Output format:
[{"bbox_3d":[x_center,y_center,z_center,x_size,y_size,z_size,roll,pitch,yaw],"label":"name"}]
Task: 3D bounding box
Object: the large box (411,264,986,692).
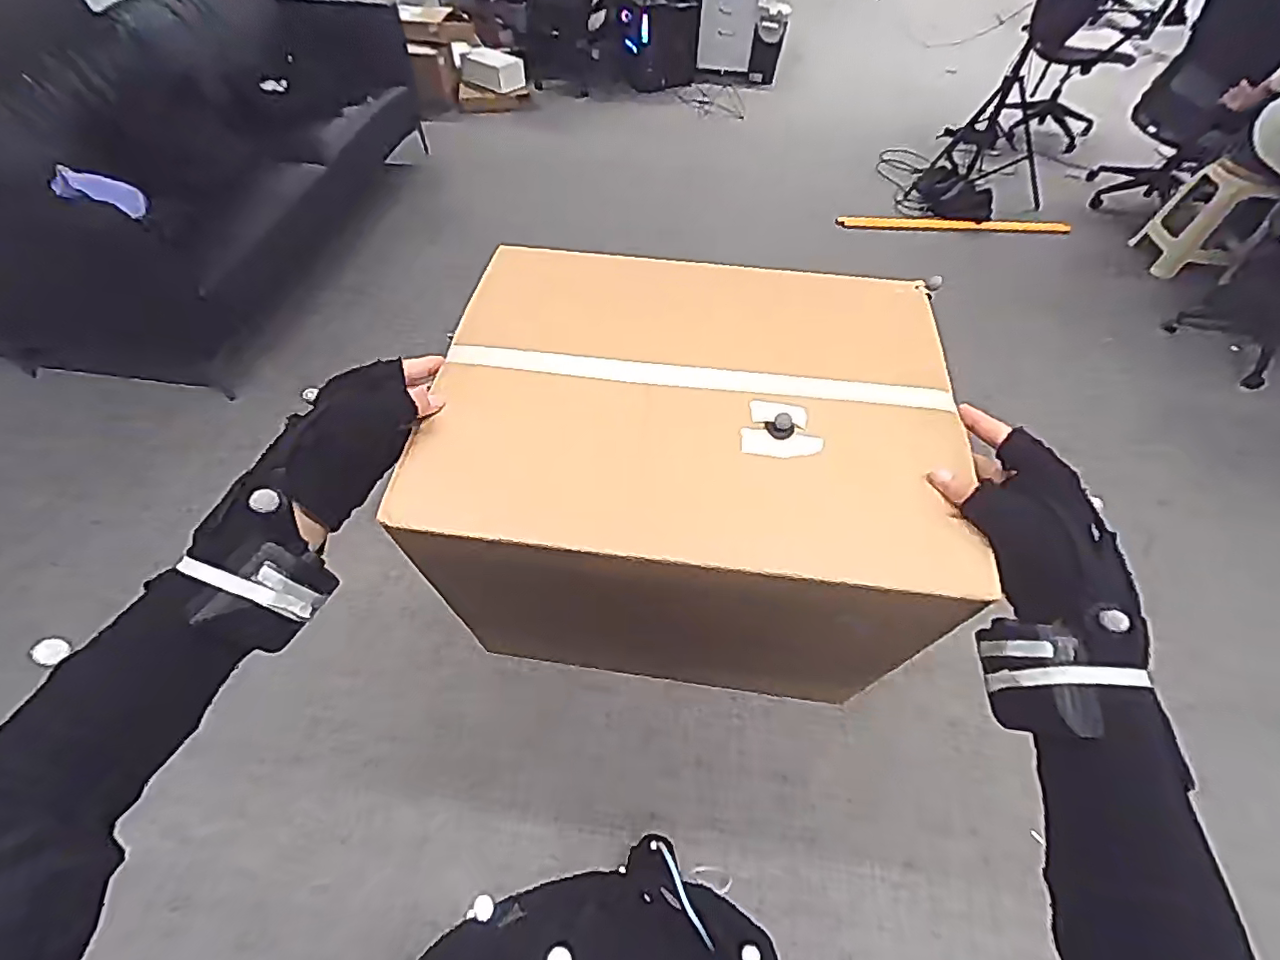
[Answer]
[{"bbox_3d":[0.046,0.011,0.572,0.408,0.320,0.320,7,57,3],"label":"large box"}]
